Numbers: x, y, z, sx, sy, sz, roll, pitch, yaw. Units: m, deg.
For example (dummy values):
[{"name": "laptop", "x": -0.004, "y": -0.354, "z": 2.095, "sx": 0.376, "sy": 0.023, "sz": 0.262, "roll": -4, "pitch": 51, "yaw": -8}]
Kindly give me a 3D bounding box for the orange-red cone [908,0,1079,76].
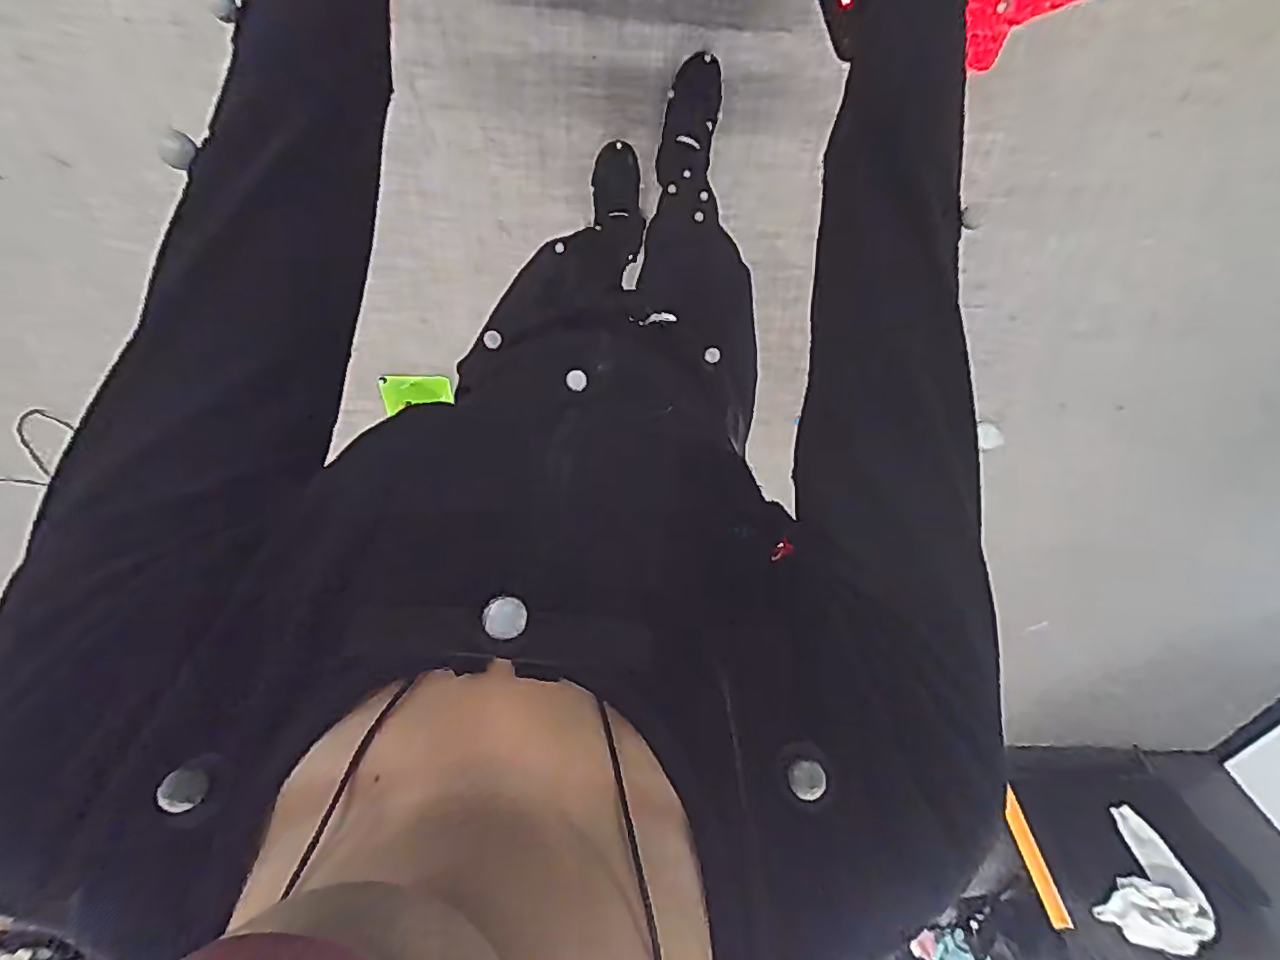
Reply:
[{"name": "orange-red cone", "x": 0.652, "y": -0.824, "z": 0.918, "sx": 0.198, "sy": 0.360, "sz": 0.199, "roll": 10, "pitch": 127, "yaw": -8}]
